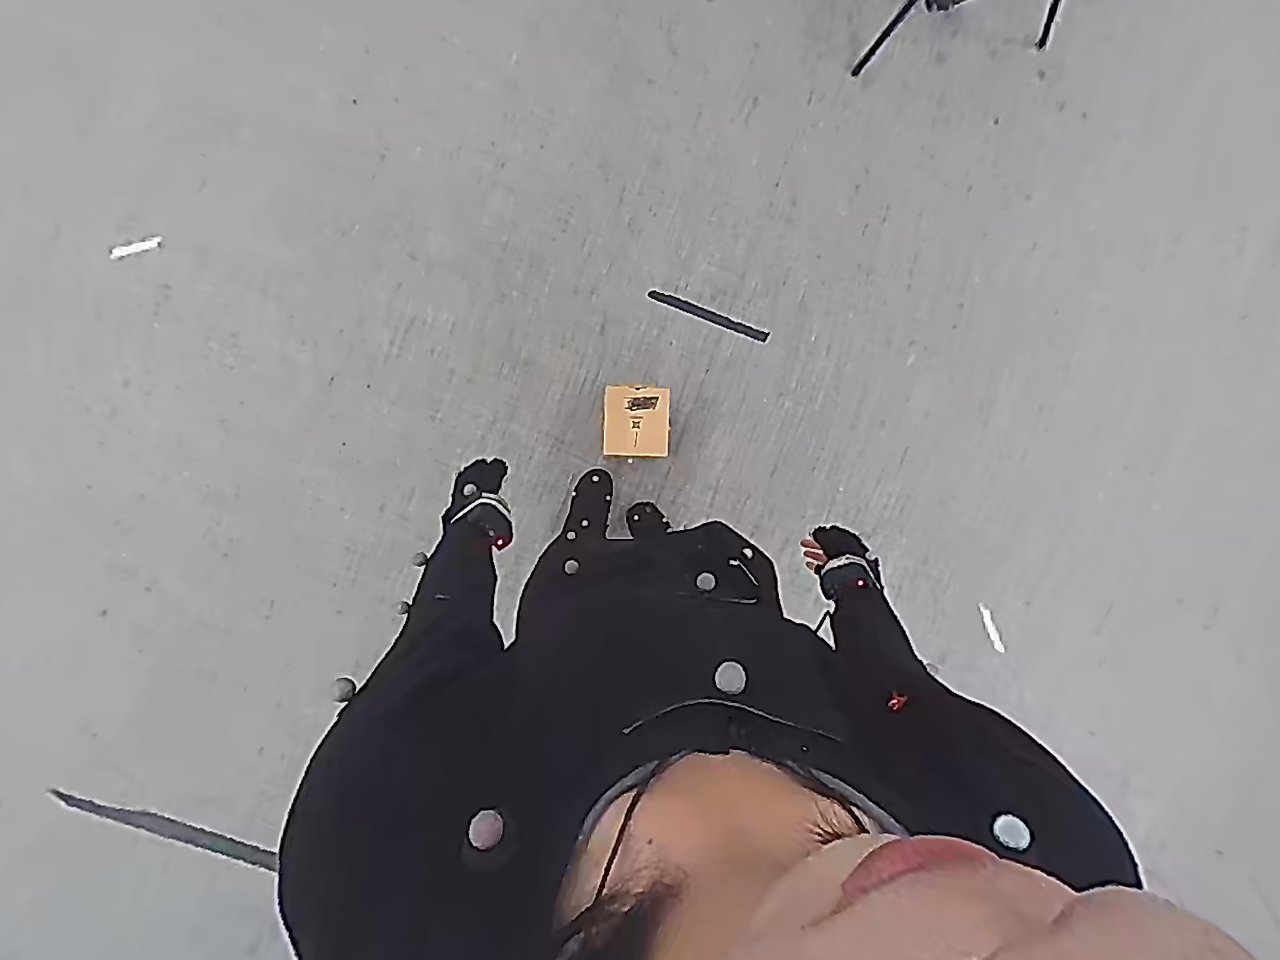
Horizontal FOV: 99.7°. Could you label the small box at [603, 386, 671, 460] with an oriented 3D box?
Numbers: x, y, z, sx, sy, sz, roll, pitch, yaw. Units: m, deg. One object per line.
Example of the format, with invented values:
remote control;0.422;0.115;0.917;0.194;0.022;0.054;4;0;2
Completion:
small box;-0.013;-0.146;1.435;0.168;0.176;0.179;2;91;-4
